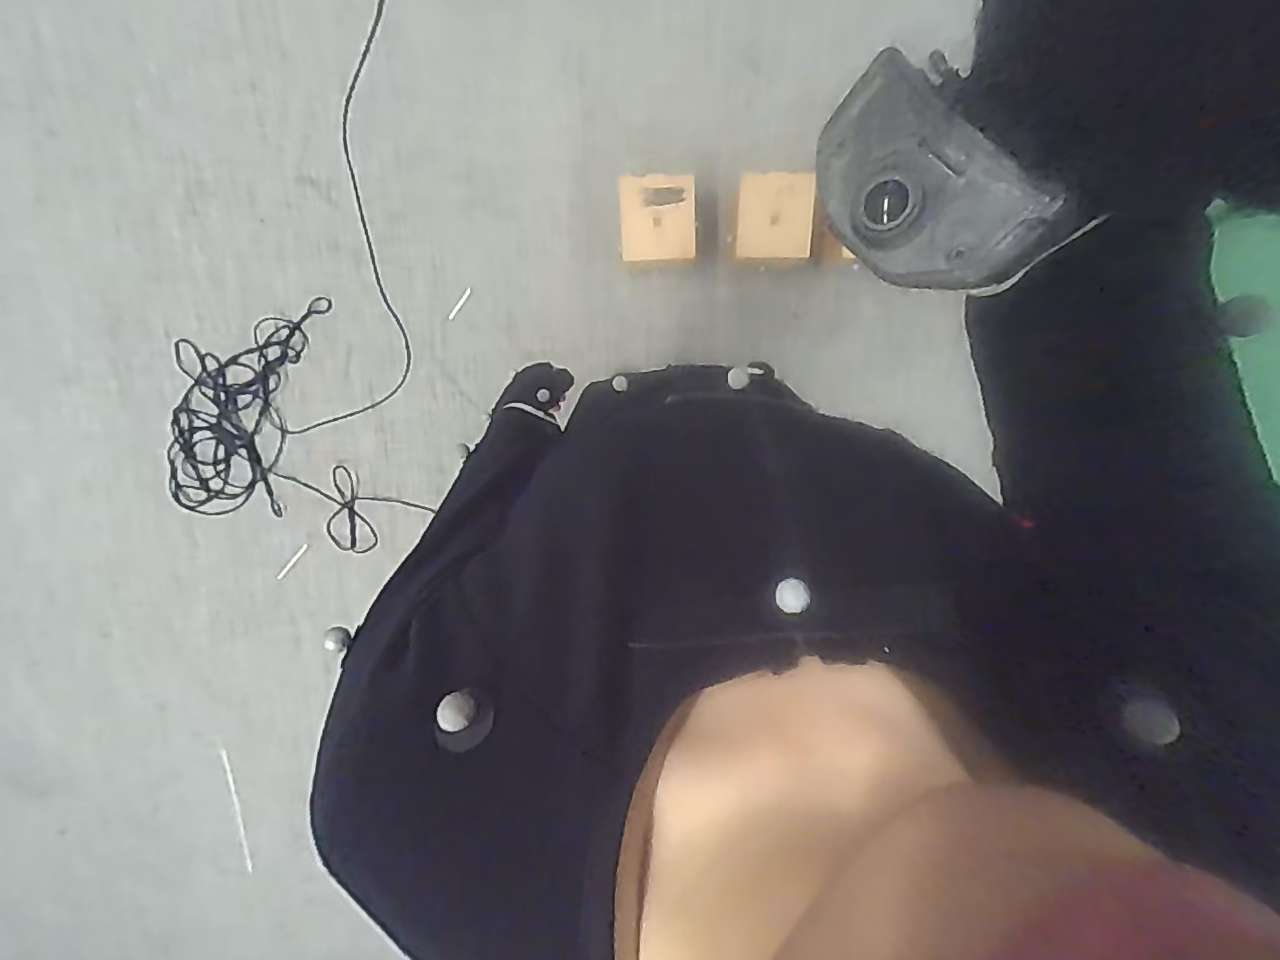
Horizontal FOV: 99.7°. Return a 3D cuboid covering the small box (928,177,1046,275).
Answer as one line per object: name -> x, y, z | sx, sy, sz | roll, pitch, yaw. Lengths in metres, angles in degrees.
small box -> 0.799, -0.586, 1.264 | 0.168, 0.176, 0.179 | -1, 103, 1

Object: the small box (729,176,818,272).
small box -> 0.303, -0.590, 1.265 | 0.168, 0.176, 0.179 | 0, 102, 0

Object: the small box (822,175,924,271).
small box -> 0.536, -0.591, 1.266 | 0.168, 0.176, 0.179 | -2, 102, 0
